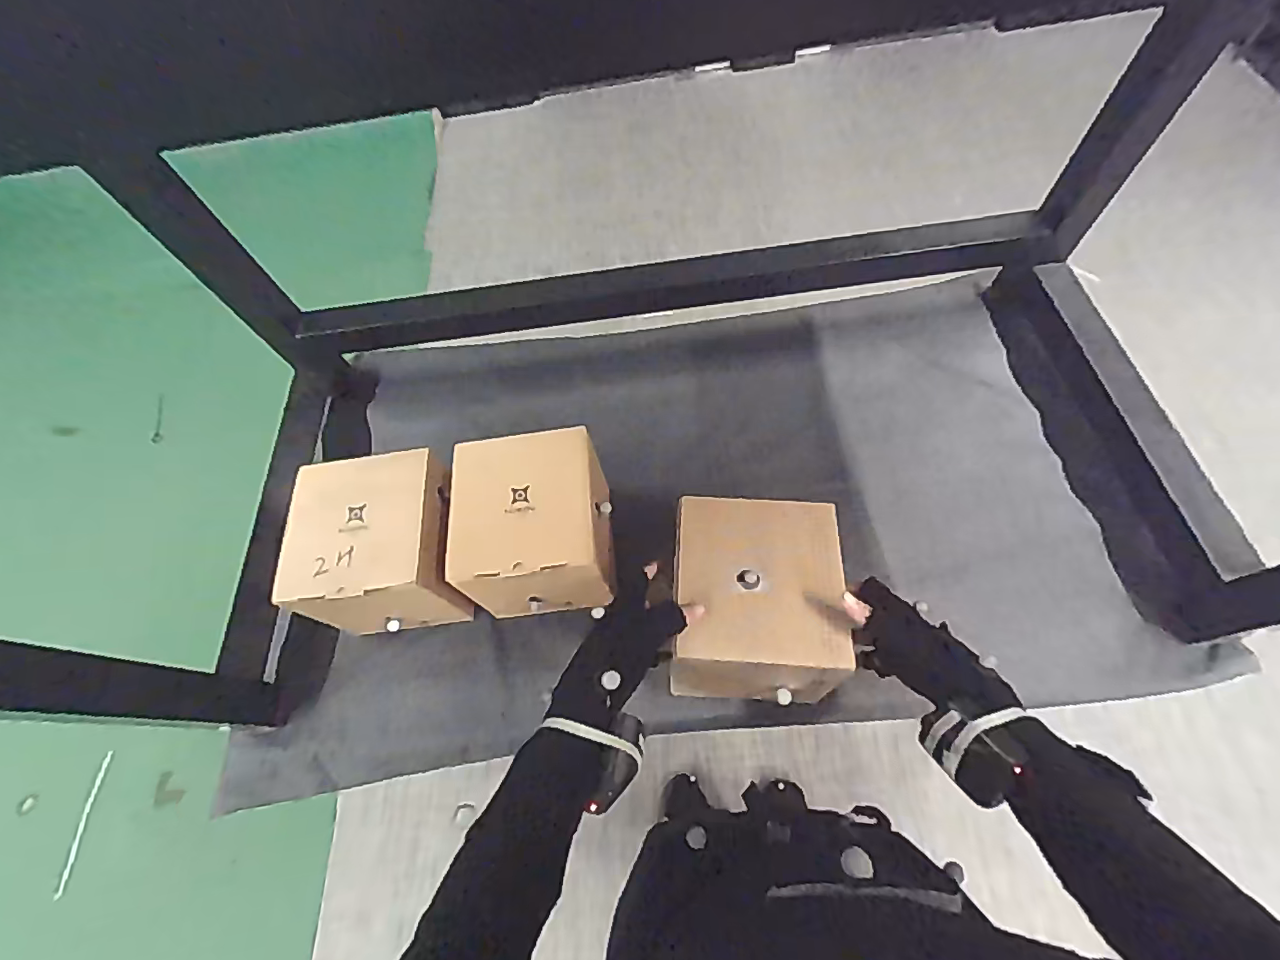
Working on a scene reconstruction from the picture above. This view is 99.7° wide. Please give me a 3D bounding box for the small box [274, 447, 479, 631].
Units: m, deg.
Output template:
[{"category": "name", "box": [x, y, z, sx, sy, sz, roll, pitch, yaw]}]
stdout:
[{"category": "small box", "box": [-0.318, 0.081, 0.694, 0.168, 0.176, 0.179, -8, 62, 3]}]
